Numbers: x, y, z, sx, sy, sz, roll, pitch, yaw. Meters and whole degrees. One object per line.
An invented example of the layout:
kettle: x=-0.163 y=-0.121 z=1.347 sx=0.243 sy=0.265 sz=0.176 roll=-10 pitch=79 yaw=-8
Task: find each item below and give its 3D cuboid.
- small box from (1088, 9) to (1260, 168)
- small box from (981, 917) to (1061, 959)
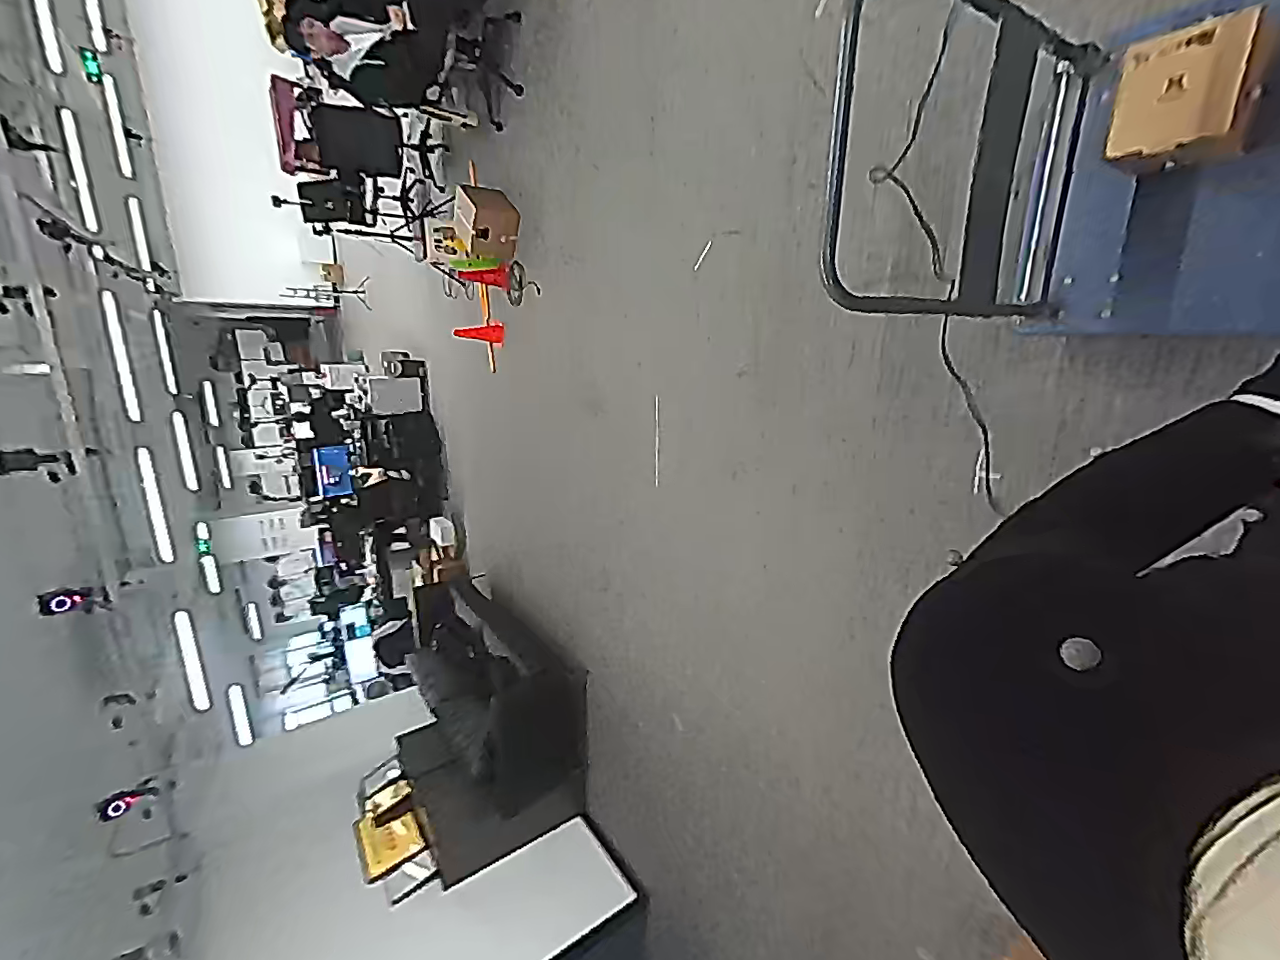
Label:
small box: x=0.934 y=-0.665 z=0.948 sx=0.168 sy=0.176 sz=0.179 roll=23 pitch=117 yaw=51
small box: x=1.085 y=1.414 z=1.540 sx=0.168 sy=0.176 sz=0.179 roll=27 pitch=120 yaw=49
